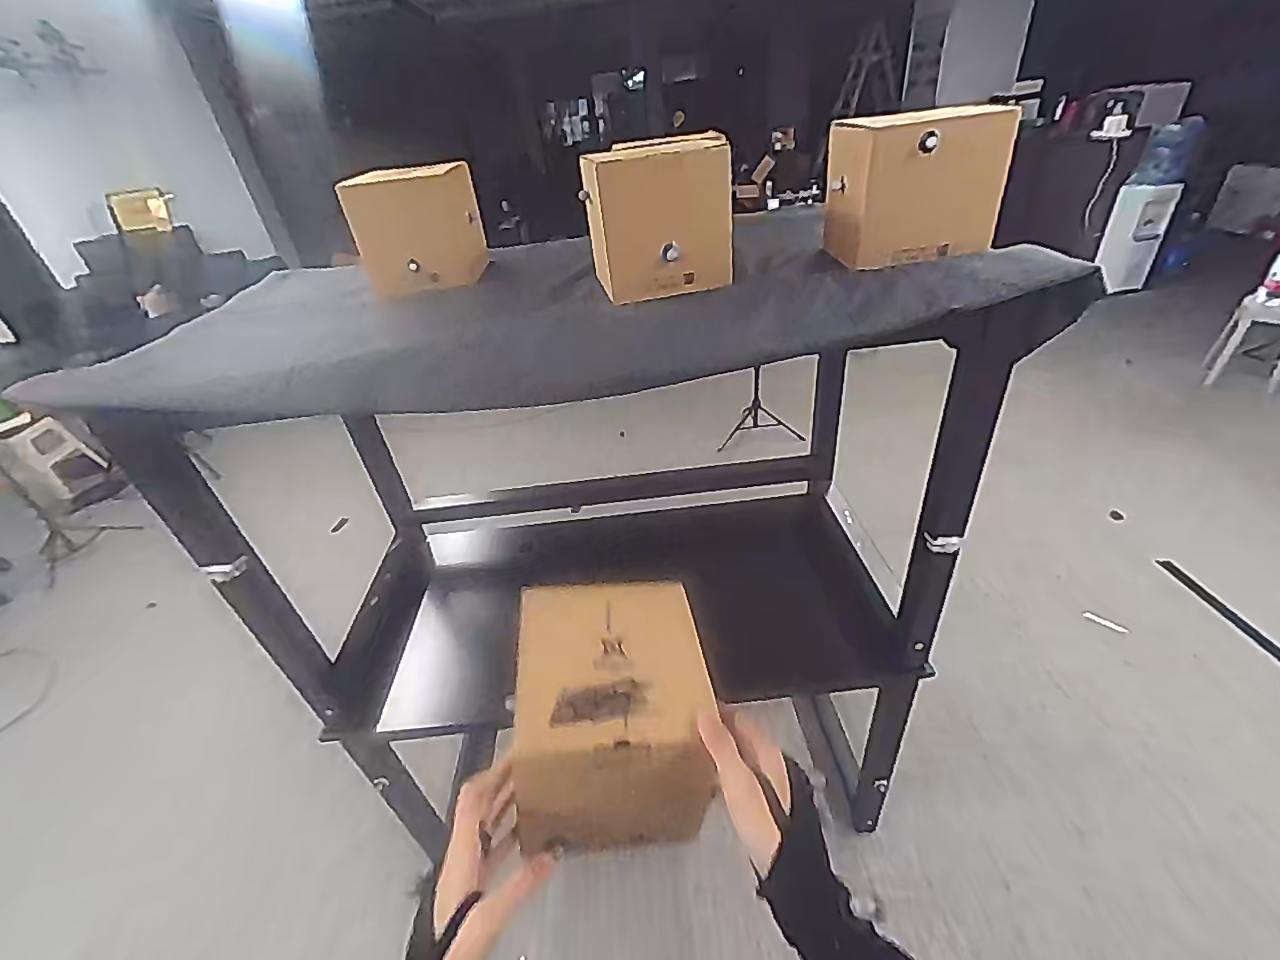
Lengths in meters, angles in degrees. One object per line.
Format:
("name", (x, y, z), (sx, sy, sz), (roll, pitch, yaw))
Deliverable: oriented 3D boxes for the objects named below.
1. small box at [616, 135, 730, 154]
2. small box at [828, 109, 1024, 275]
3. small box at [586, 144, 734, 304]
("small box", (0.055, -0.480, 0.925), (0.179, 0.176, 0.168), (-6, 33, 2))
("small box", (0.359, -0.382, 0.722), (0.168, 0.176, 0.179), (-5, 33, 4))
("small box", (0.024, -0.355, 0.747), (0.168, 0.176, 0.179), (-12, 35, -6))
